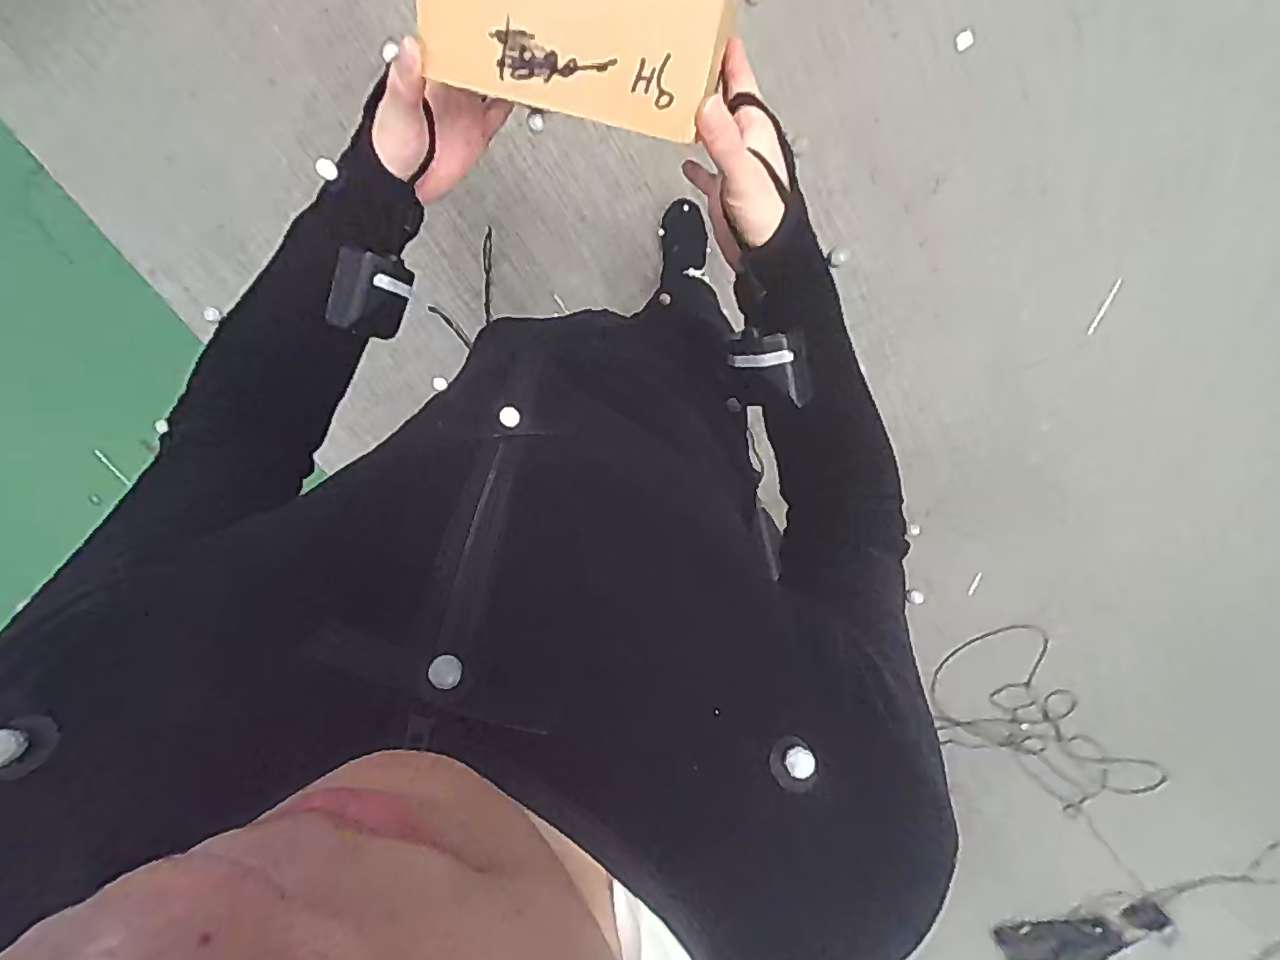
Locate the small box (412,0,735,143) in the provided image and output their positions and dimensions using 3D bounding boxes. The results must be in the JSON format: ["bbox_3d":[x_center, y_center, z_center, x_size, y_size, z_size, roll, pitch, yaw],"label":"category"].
[{"bbox_3d":[-0.022,-0.329,0.331,0.168,0.176,0.179,15,125,1],"label":"small box"}]
